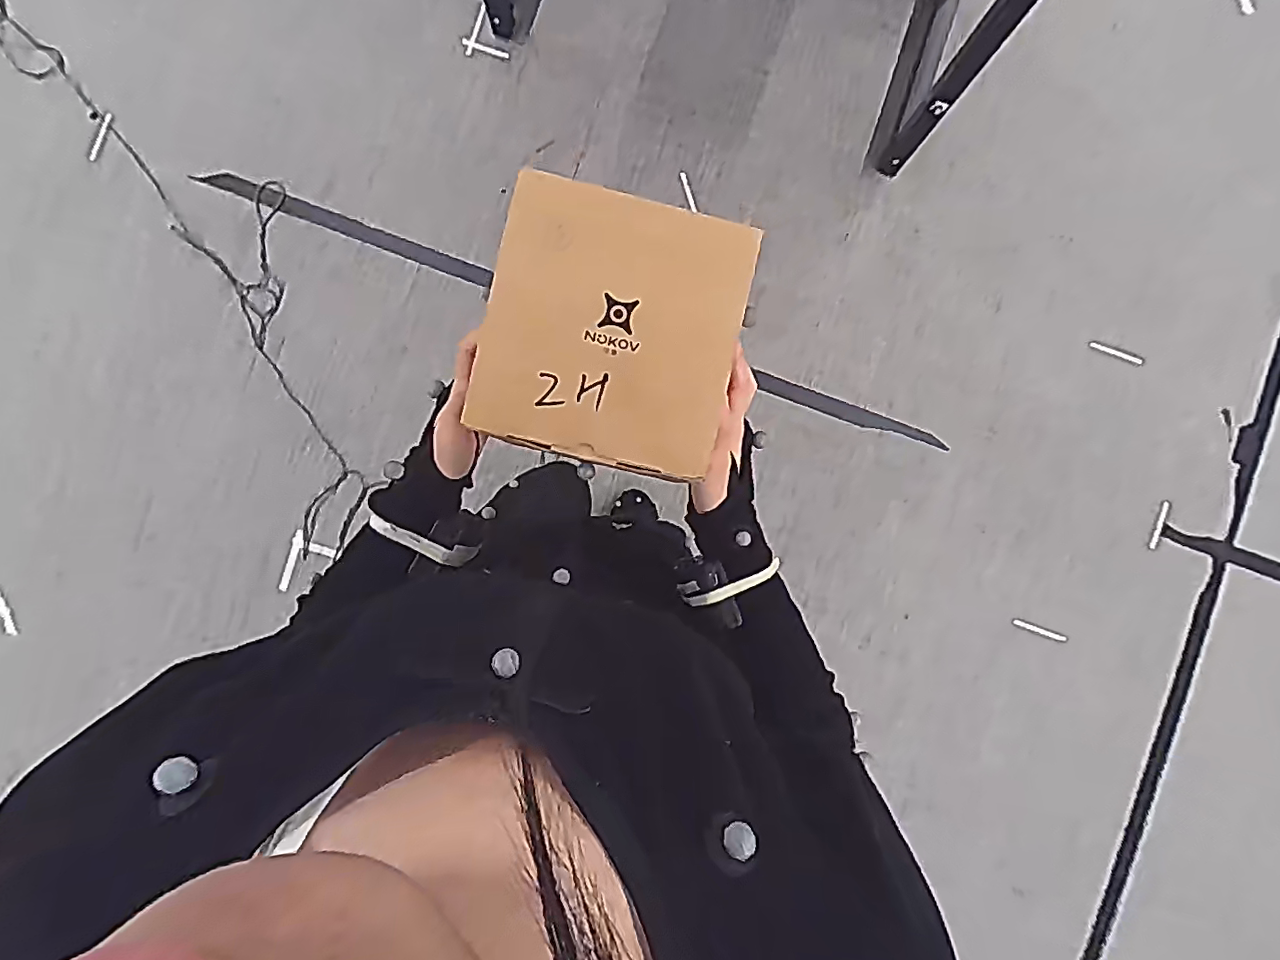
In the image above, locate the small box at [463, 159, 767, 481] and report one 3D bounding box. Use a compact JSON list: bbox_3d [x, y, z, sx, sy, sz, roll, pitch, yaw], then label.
[{"bbox_3d":[-0.020,-0.102,0.426,0.168,0.176,0.179,13,90,-3],"label":"small box"}]
